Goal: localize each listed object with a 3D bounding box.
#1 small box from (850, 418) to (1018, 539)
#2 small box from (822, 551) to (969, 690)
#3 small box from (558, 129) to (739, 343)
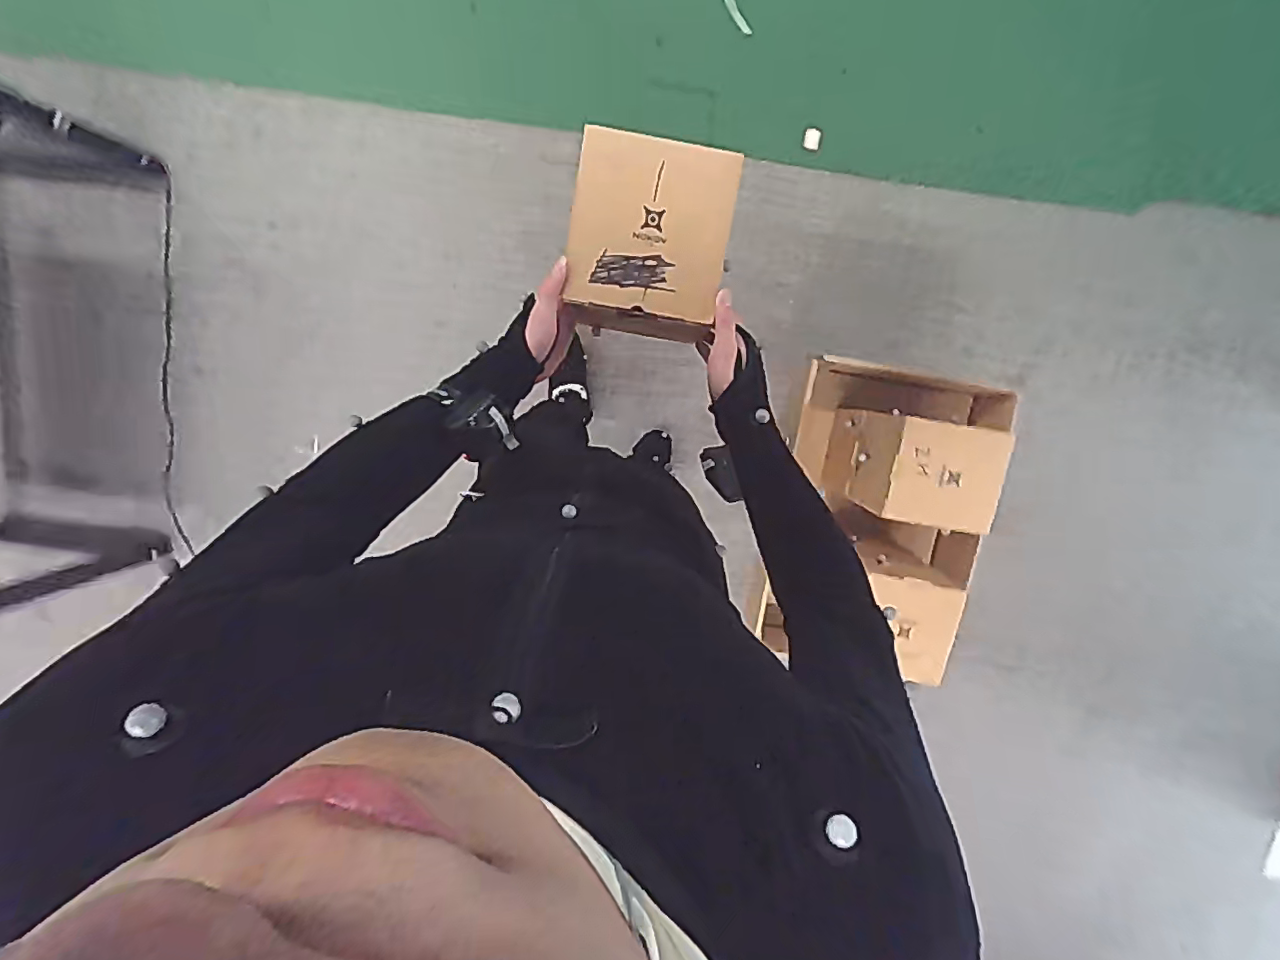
[{"bbox_3d":[0.491,-0.011,0.930,0.179,0.176,0.168,10,99,0],"label":"small box"},{"bbox_3d":[0.446,0.242,0.975,0.168,0.176,0.179,12,100,1],"label":"small box"},{"bbox_3d":[0.006,-0.264,0.629,0.168,0.176,0.179,8,97,-3],"label":"small box"}]
